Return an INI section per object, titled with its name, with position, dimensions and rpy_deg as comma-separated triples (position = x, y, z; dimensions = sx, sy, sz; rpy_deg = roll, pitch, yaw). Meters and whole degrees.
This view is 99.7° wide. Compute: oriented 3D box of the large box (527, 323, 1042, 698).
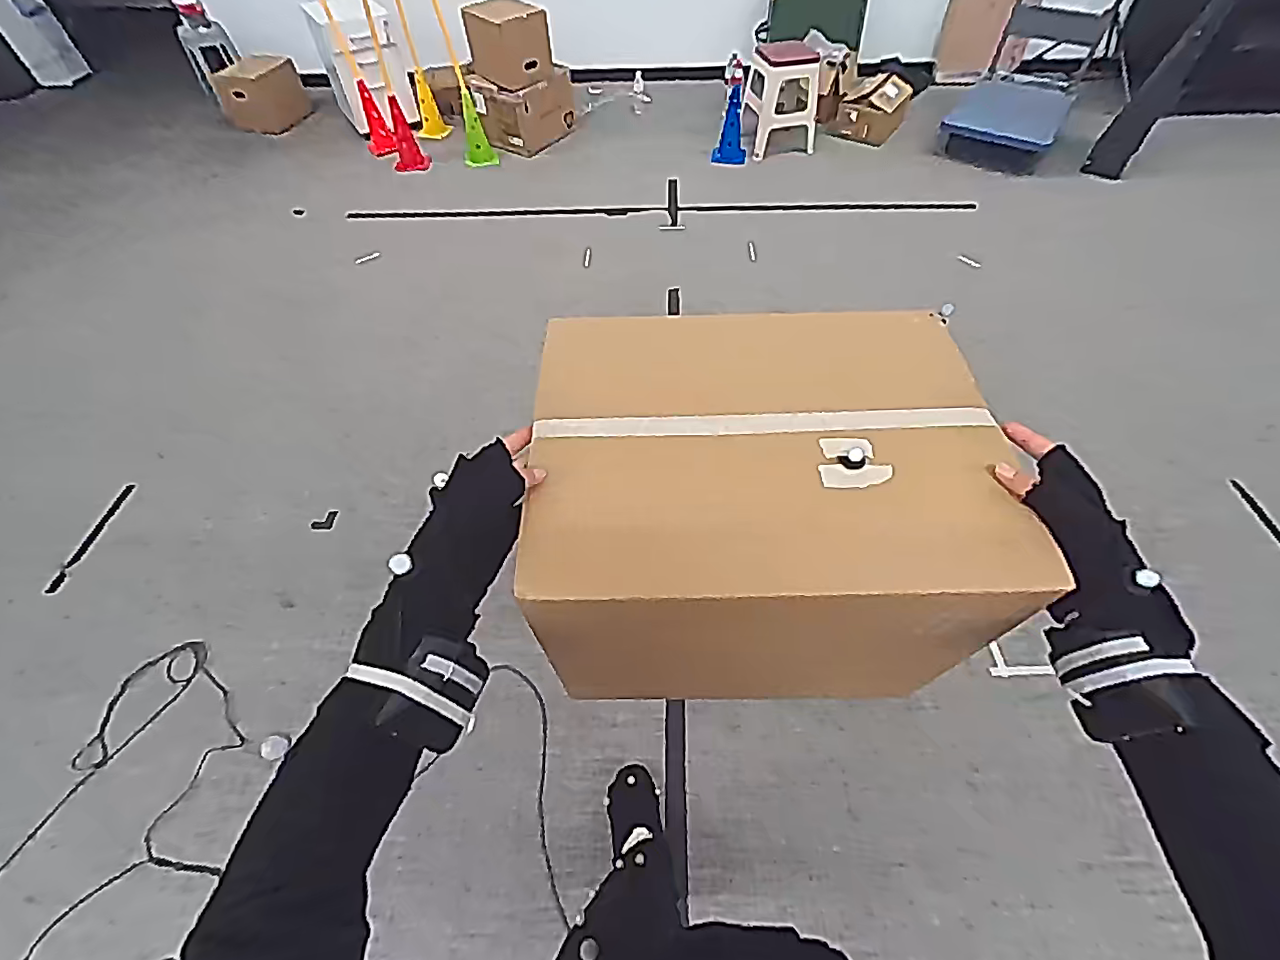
[large box]
position = 0.108, 0.046, 0.617
dimensions = 0.408, 0.320, 0.320
rpy_deg = -1, 55, 1
